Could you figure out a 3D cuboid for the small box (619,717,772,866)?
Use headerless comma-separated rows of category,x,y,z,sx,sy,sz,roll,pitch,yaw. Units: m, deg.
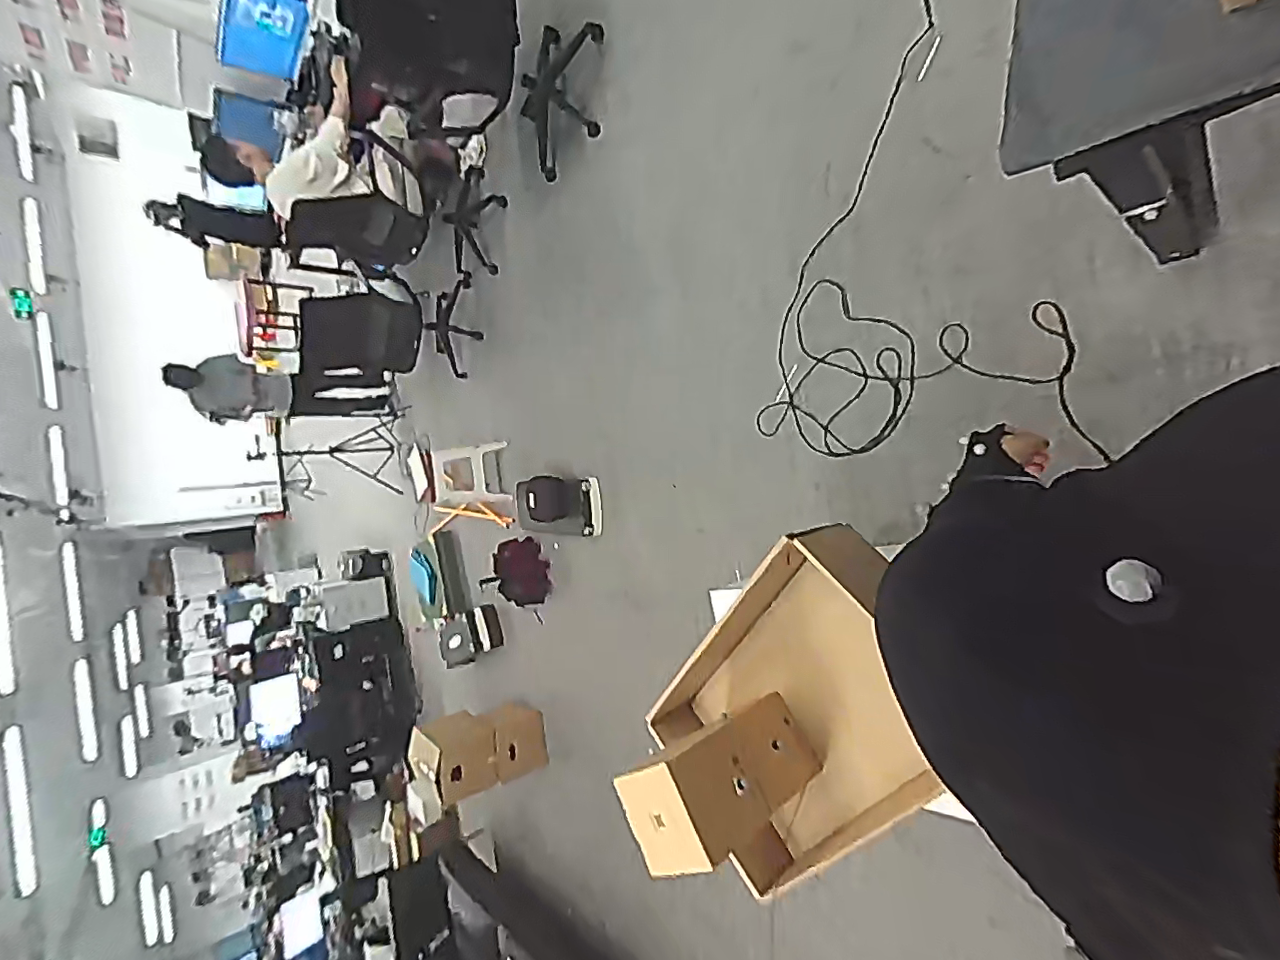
small box,0.099,0.553,0.967,0.179,0.176,0.168,-46,64,41
